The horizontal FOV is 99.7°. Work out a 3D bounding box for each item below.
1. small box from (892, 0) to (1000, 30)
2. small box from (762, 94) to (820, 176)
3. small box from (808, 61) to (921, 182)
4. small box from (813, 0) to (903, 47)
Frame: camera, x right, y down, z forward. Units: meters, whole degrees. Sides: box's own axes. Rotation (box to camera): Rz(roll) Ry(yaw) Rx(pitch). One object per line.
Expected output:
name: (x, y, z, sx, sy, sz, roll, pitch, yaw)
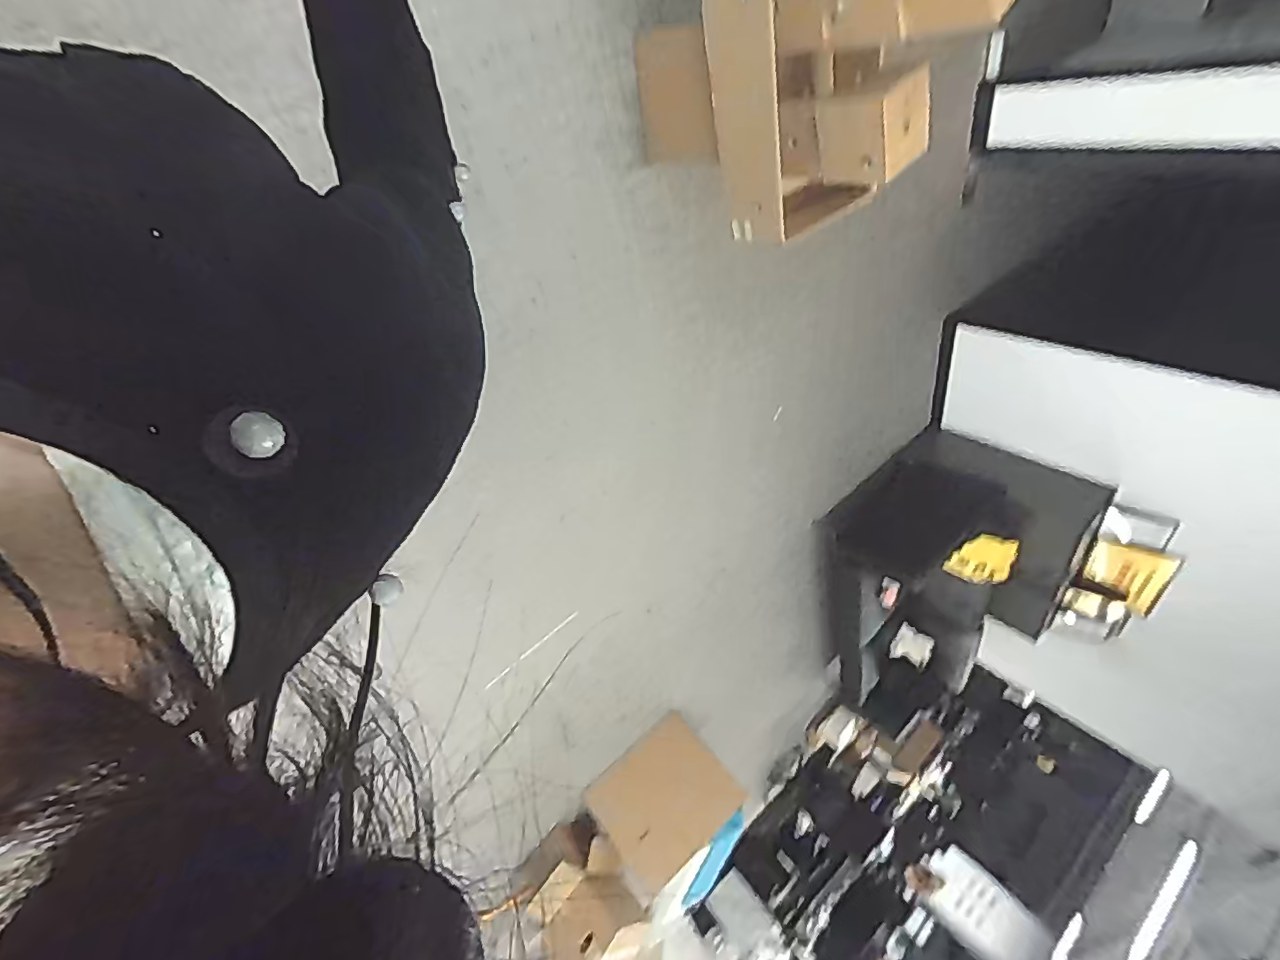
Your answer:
small box: (0.549, -0.933, 0.937, 0.179, 0.176, 0.168, 31, 93, -47)
small box: (0.422, -0.861, 1.348, 0.179, 0.176, 0.168, -27, 130, -27)
small box: (0.502, -0.798, 1.214, 0.168, 0.176, 0.179, -43, 135, -16)
small box: (0.461, -0.995, 1.059, 0.179, 0.176, 0.168, -48, 136, -8)
